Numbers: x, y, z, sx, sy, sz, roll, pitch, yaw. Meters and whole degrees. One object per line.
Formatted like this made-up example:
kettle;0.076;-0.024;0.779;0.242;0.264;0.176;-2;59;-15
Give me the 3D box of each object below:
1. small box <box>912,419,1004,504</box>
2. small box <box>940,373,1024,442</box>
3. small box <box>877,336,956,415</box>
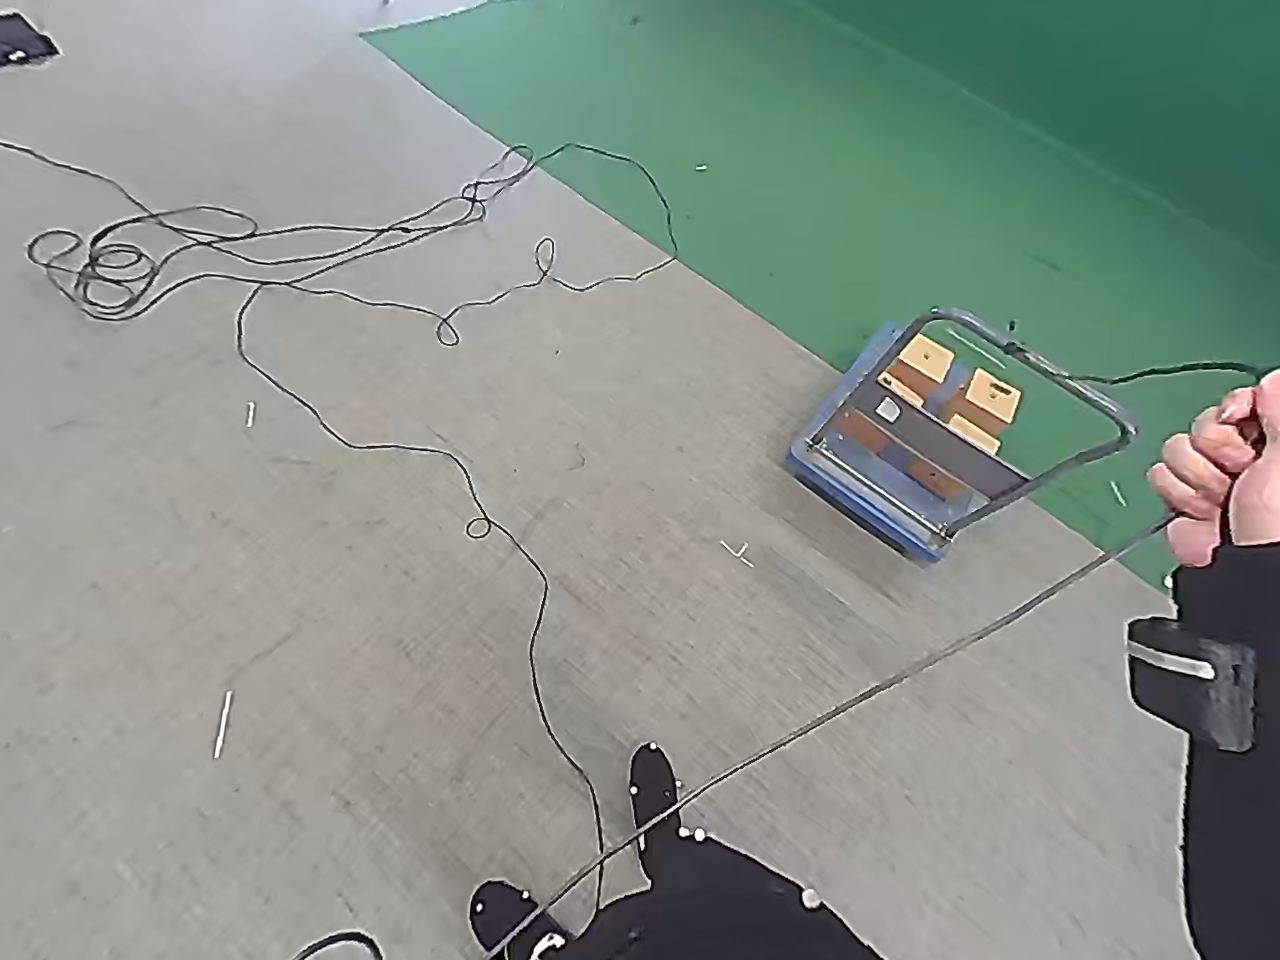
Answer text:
small box;1.020;-0.057;1.746;0.168;0.176;0.179;38;61;11
small box;1.182;-0.228;1.878;0.168;0.176;0.179;34;60;10
small box;0.974;-0.365;1.916;0.168;0.176;0.179;34;60;8
